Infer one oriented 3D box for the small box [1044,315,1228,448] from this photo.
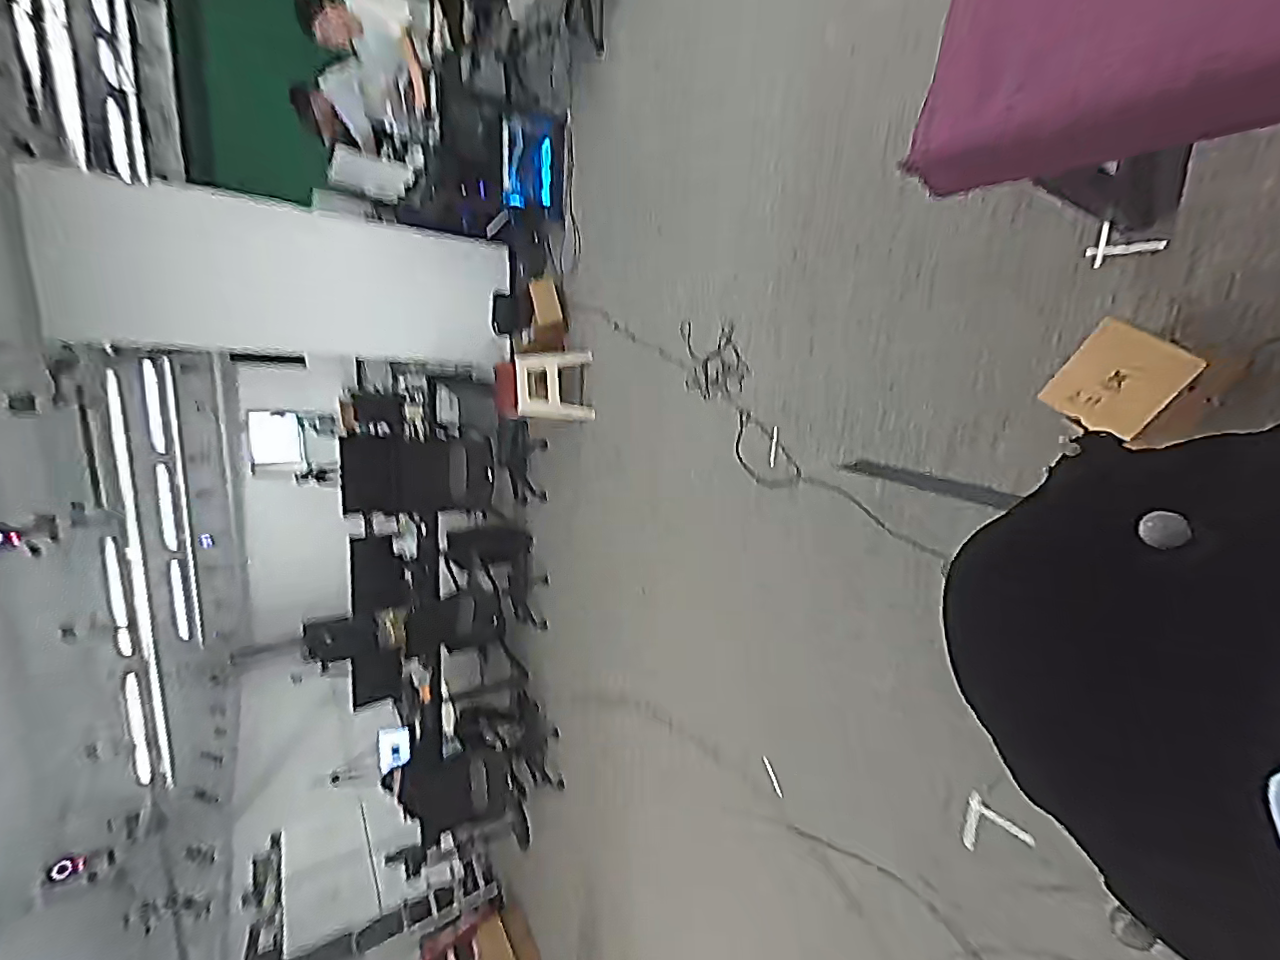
[{"bbox_3d":[0.901,-0.178,0.983,0.168,0.176,0.179,54,137,38],"label":"small box"}]
